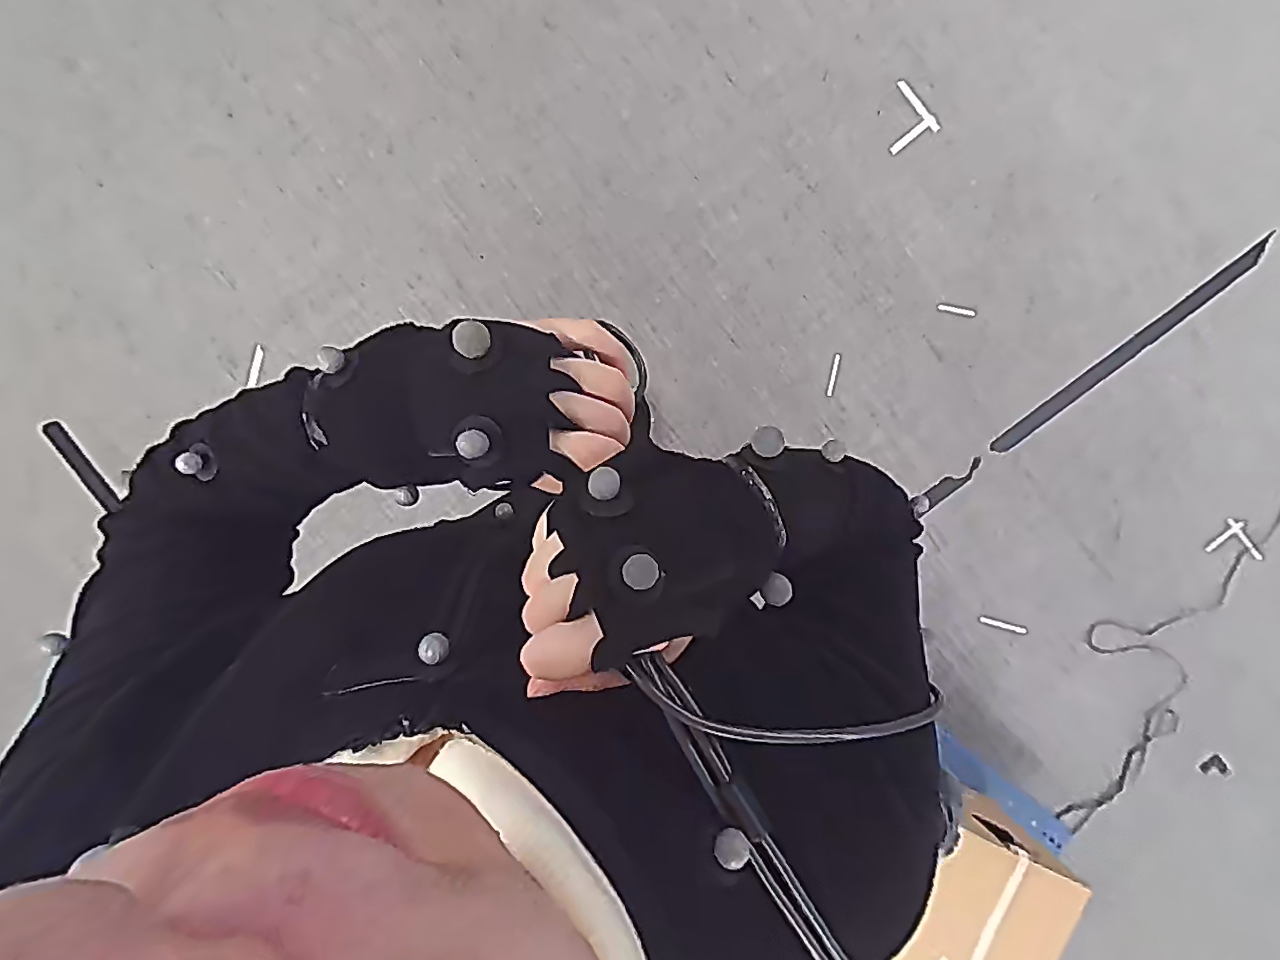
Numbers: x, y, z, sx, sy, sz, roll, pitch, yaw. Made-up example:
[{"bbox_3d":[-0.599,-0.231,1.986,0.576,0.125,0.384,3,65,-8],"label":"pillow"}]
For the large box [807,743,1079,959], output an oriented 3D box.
[{"bbox_3d":[0.636,0.891,1.199,0.320,0.320,0.408,26,90,-2],"label":"large box"}]
